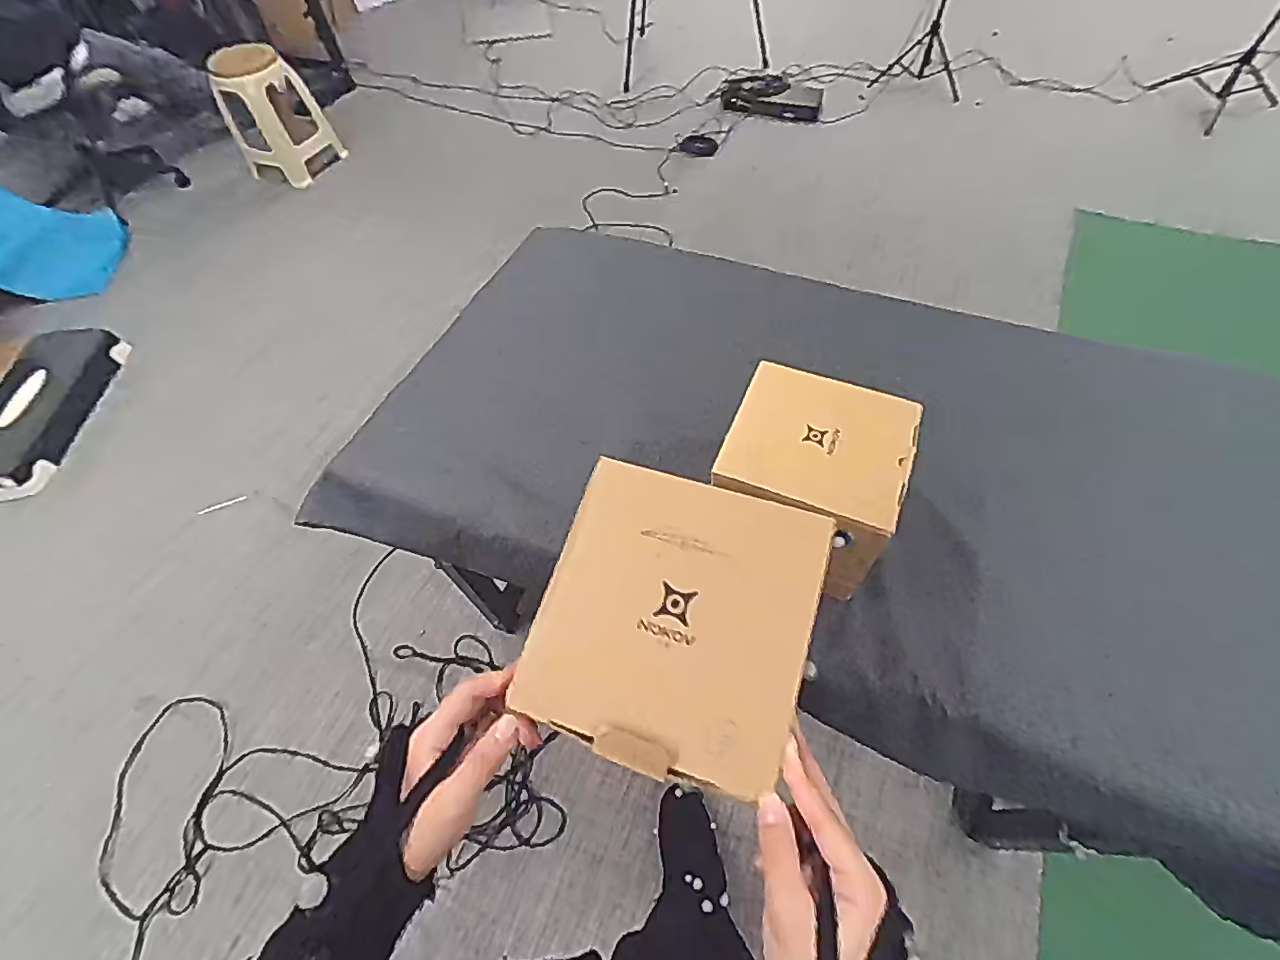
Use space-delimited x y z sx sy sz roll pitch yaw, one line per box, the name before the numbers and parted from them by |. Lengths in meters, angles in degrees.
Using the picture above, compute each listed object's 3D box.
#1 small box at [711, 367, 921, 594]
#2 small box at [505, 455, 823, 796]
small box | 0.183 0.006 0.608 0.179 0.176 0.168 19 60 15
small box | 0.026 0.109 0.415 0.168 0.176 0.179 14 69 11
